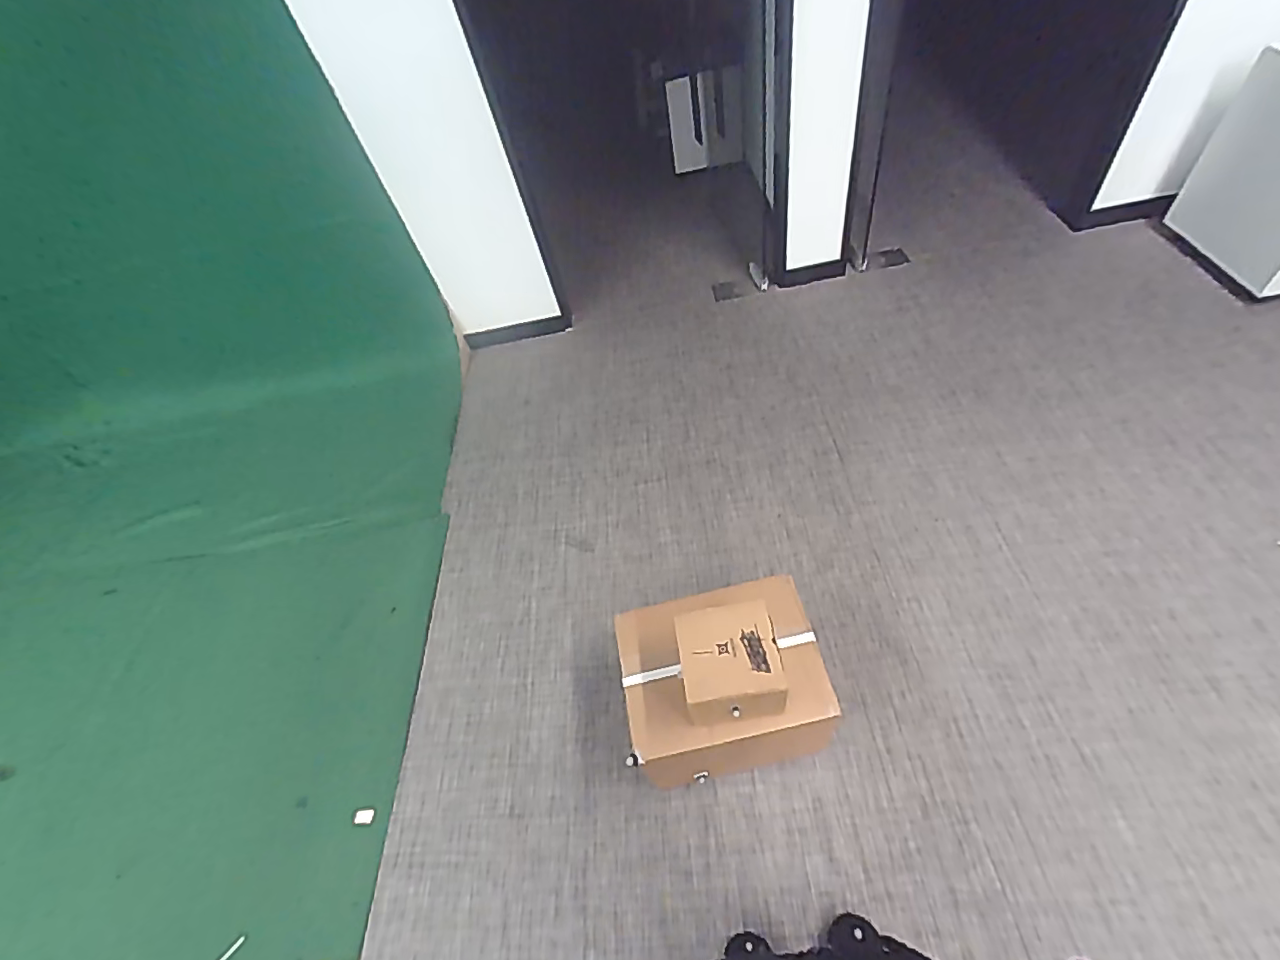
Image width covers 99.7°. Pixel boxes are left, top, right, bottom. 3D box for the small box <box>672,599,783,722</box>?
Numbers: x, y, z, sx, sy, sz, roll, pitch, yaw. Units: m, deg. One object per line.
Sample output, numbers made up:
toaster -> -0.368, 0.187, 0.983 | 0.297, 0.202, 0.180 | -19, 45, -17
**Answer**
small box -> 0.165, 0.348, 1.034 | 0.179, 0.176, 0.168 | -11, 52, 5
